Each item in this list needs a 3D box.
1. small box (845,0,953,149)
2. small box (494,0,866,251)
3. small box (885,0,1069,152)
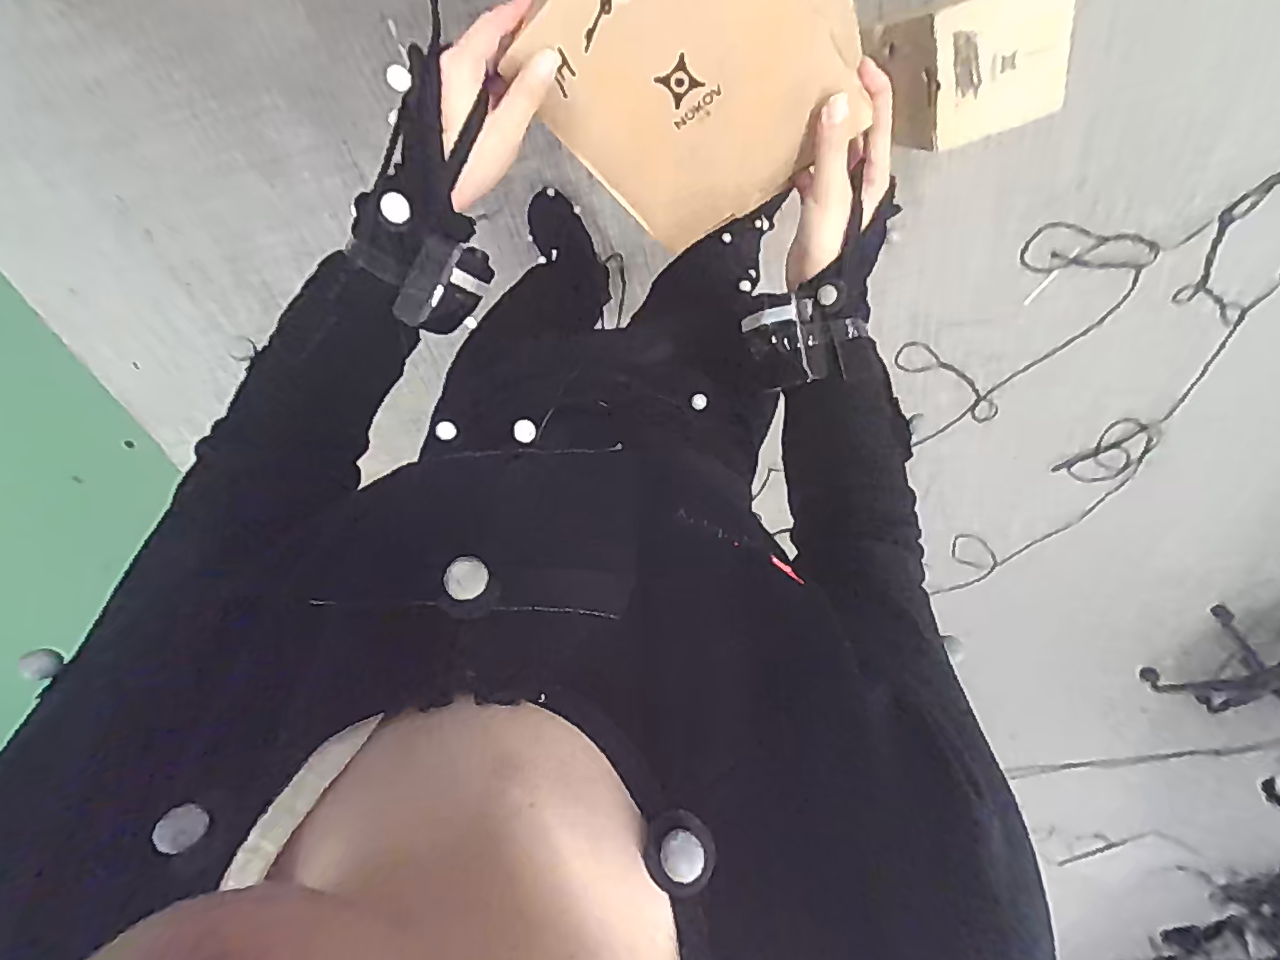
[{"bbox_3d":[0.458,-0.696,0.929,0.179,0.176,0.168,-16,124,9],"label":"small box"},{"bbox_3d":[0.034,-0.308,0.369,0.168,0.176,0.179,-20,143,39],"label":"small box"},{"bbox_3d":[0.477,-0.604,0.794,0.179,0.176,0.168,-17,125,7],"label":"small box"}]
